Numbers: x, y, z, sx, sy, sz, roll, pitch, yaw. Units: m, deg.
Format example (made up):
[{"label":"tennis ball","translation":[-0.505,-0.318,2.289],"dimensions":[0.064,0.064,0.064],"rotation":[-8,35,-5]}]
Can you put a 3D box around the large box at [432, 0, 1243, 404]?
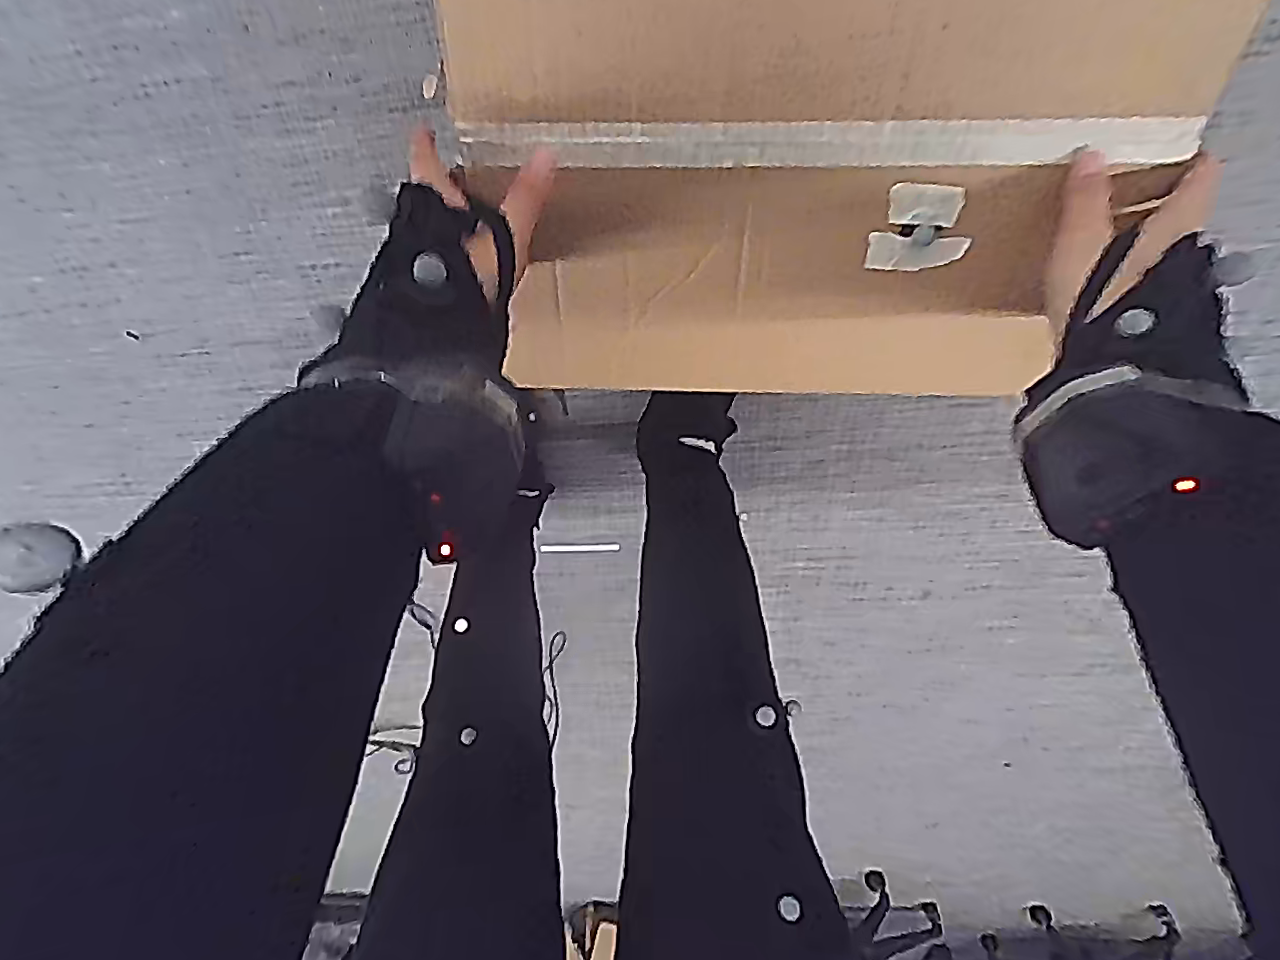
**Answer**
[{"label":"large box","translation":[0.098,-0.268,0.430],"dimensions":[0.408,0.320,0.320],"rotation":[1,127,2]}]
